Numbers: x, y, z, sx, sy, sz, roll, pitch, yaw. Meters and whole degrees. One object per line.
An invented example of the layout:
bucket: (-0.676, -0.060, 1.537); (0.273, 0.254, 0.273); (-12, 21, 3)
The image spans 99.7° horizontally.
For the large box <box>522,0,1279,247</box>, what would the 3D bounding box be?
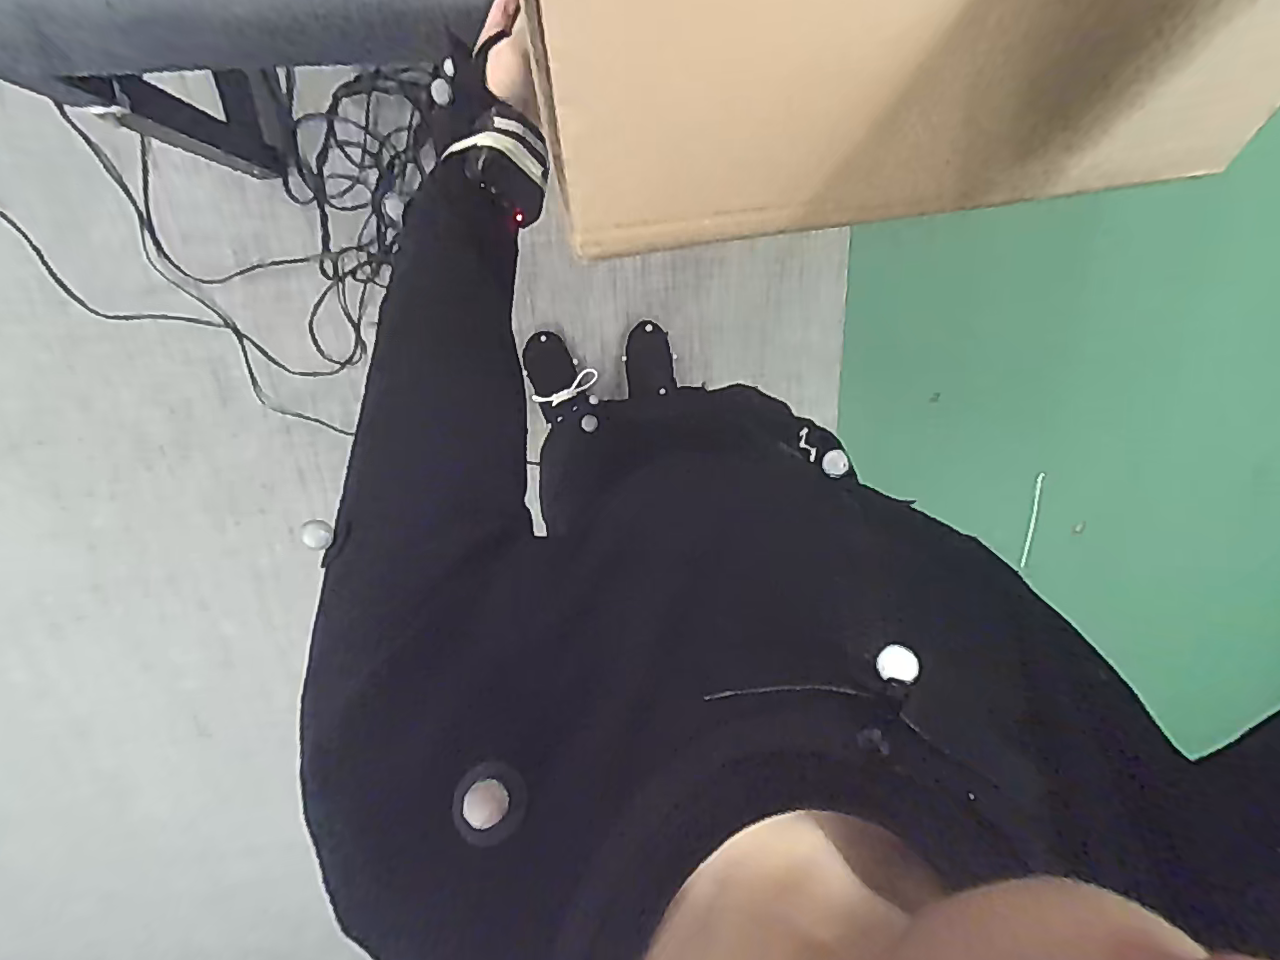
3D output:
large box: (0.077, -0.371, 0.226); (0.320, 0.408, 0.320); (-11, 148, -6)
